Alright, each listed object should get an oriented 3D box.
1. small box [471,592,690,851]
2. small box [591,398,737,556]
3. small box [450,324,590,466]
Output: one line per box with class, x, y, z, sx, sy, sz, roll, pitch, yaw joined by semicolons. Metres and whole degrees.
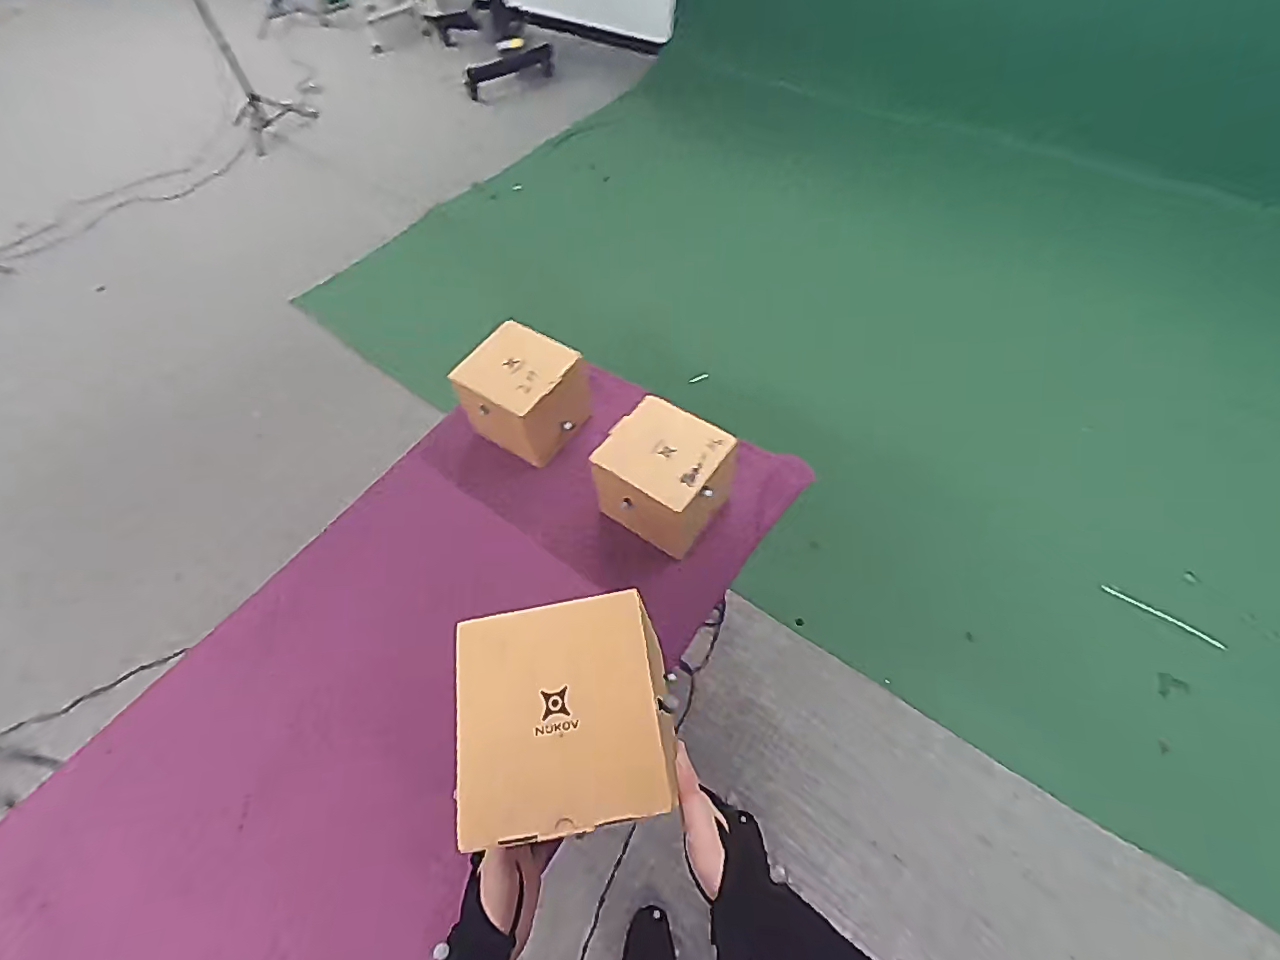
small box;-0.050;0.223;0.509;0.168;0.176;0.179;-10;63;1
small box;0.043;0.000;0.913;0.179;0.176;0.168;30;64;22
small box;-0.216;-0.155;1.020;0.179;0.176;0.168;29;65;18
